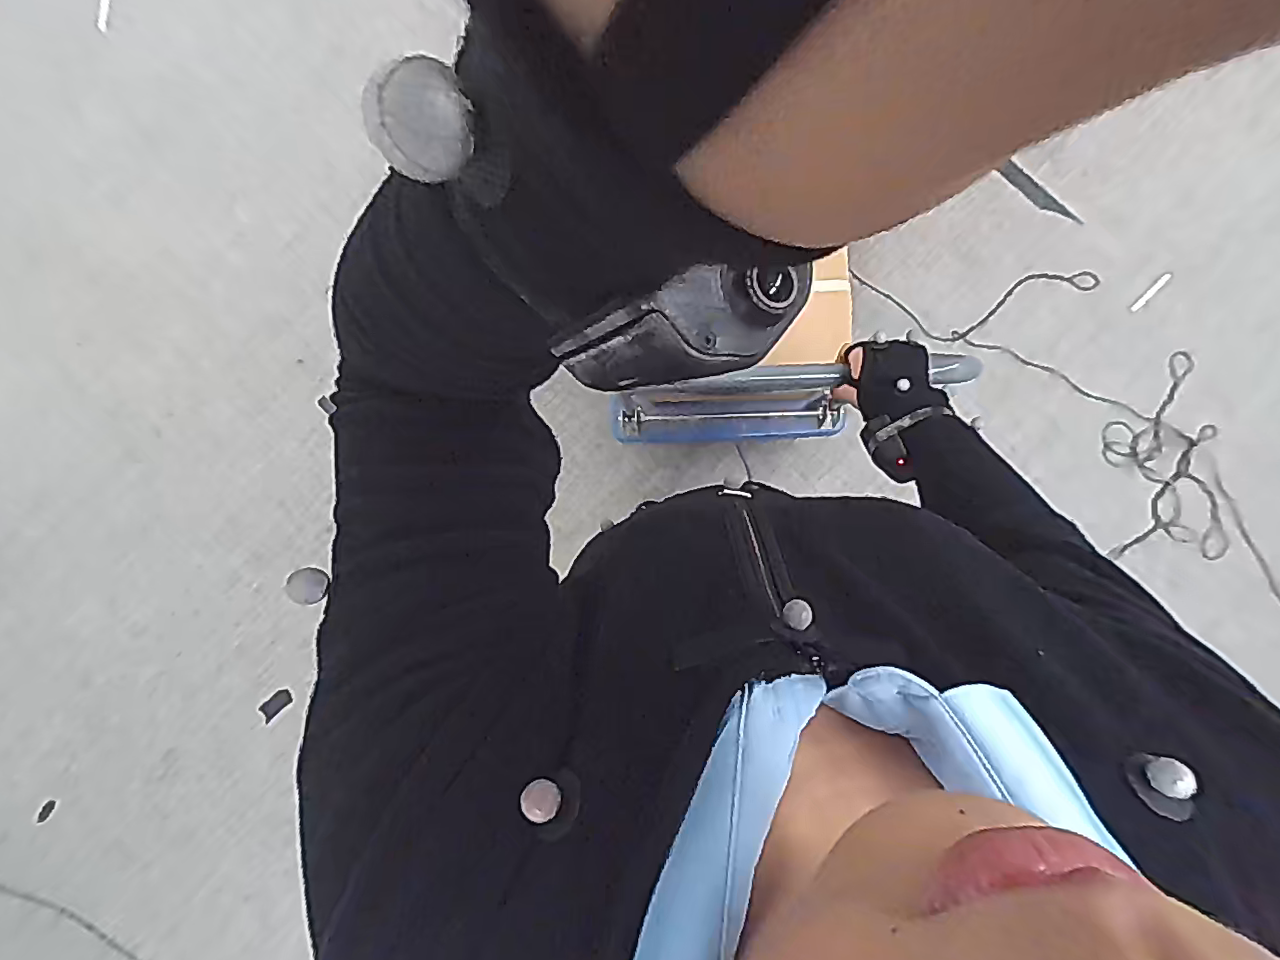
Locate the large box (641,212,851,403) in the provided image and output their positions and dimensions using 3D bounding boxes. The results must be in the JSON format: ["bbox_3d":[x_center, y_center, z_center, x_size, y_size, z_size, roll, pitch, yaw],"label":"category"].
[{"bbox_3d":[0.210,-0.359,1.208,0.408,0.320,0.320,-2,88,2],"label":"large box"}]
